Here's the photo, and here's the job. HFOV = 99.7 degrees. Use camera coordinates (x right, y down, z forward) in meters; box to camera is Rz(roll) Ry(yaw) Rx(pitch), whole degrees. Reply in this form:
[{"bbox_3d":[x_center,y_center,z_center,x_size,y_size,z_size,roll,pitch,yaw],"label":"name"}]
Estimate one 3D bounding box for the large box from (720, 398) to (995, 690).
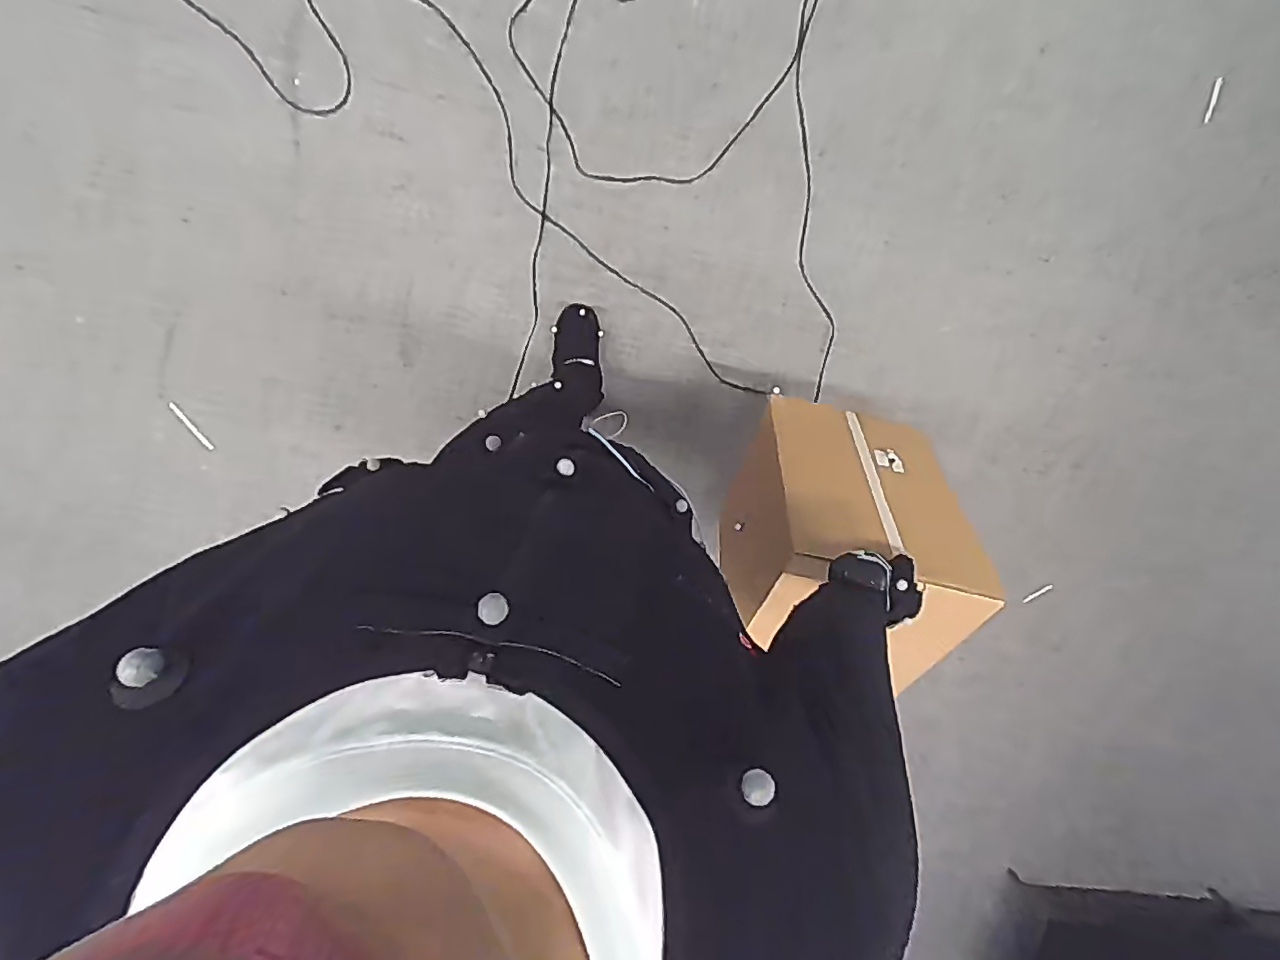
[{"bbox_3d":[0.341,0.112,0.997,0.320,0.408,0.320,14,131,-5],"label":"large box"}]
